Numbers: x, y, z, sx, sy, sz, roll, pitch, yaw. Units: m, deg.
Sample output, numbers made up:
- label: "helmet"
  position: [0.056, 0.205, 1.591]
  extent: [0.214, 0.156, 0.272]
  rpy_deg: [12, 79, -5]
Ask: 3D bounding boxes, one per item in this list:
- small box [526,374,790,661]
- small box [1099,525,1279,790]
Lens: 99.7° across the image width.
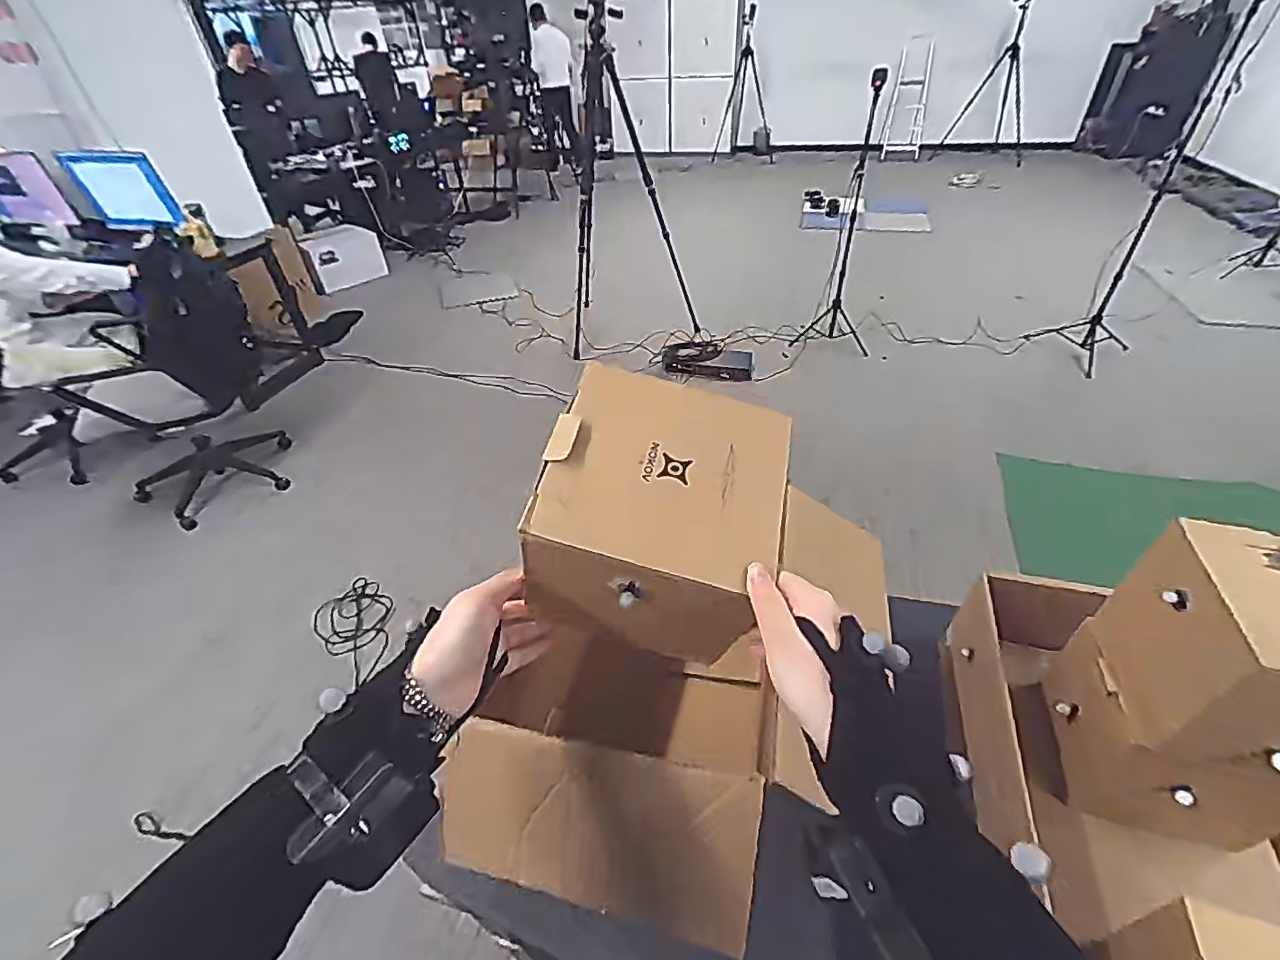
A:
- label: "small box"
  position: [0.013, 0.041, 0.472]
  extent: [0.179, 0.176, 0.168]
  rpy_deg: [16, 56, 0]
- label: "small box"
  position: [0.601, 0.174, 0.529]
  extent: [0.168, 0.176, 0.179]
  rpy_deg: [9, 43, 15]
